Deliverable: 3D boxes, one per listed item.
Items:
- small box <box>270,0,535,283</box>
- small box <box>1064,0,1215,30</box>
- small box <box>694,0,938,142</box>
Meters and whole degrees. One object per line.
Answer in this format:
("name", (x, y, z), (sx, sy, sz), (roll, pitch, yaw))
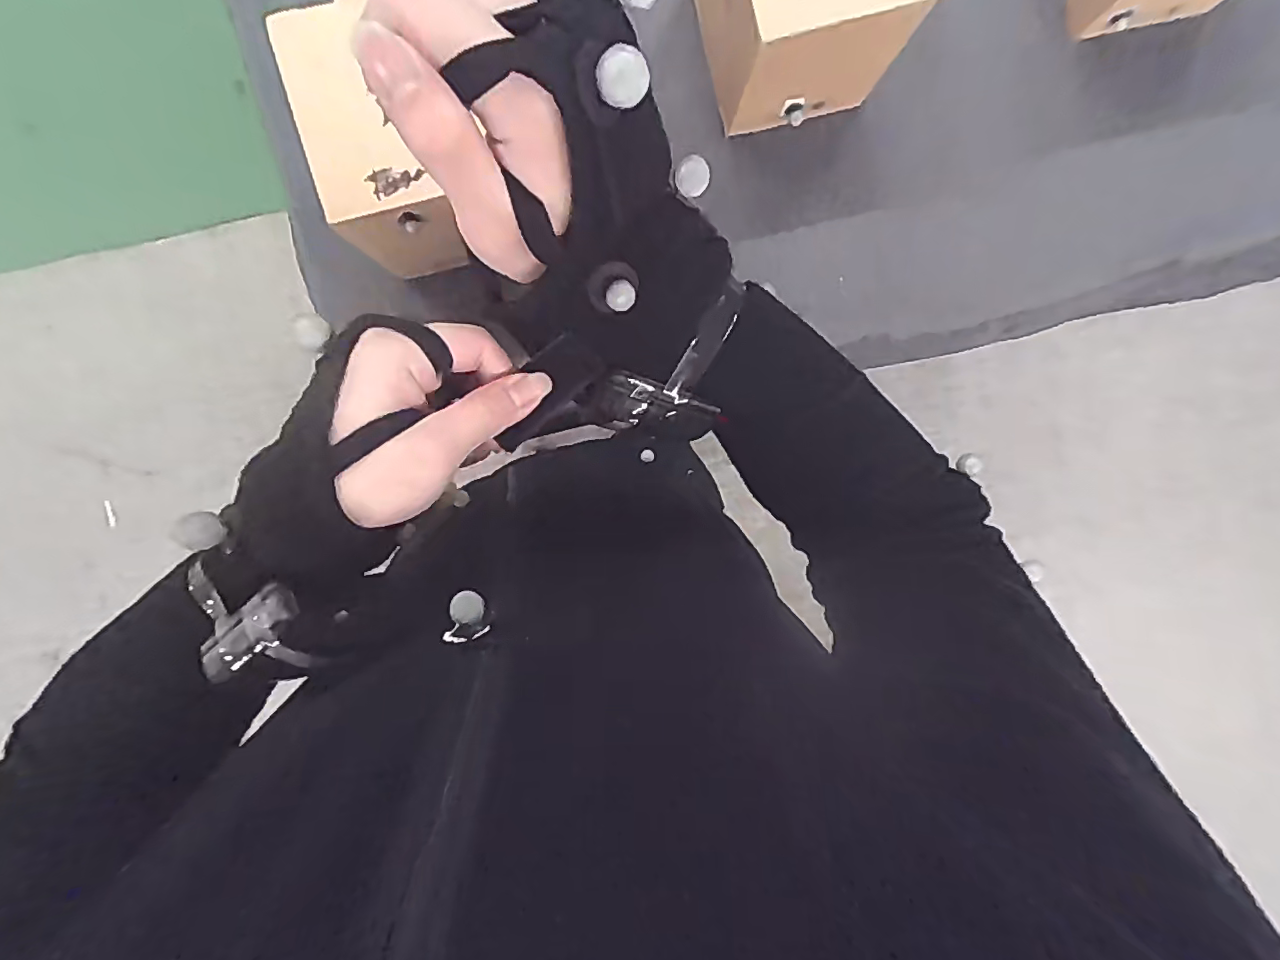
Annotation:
("small box", (-0.215, -0.323, 0.540), (0.168, 0.176, 0.179), (-15, 94, -1))
("small box", (0.564, -0.603, 0.546), (0.168, 0.176, 0.179), (-12, 95, -1))
("small box", (0.159, -0.487, 0.544), (0.168, 0.176, 0.179), (-15, 97, 0))
